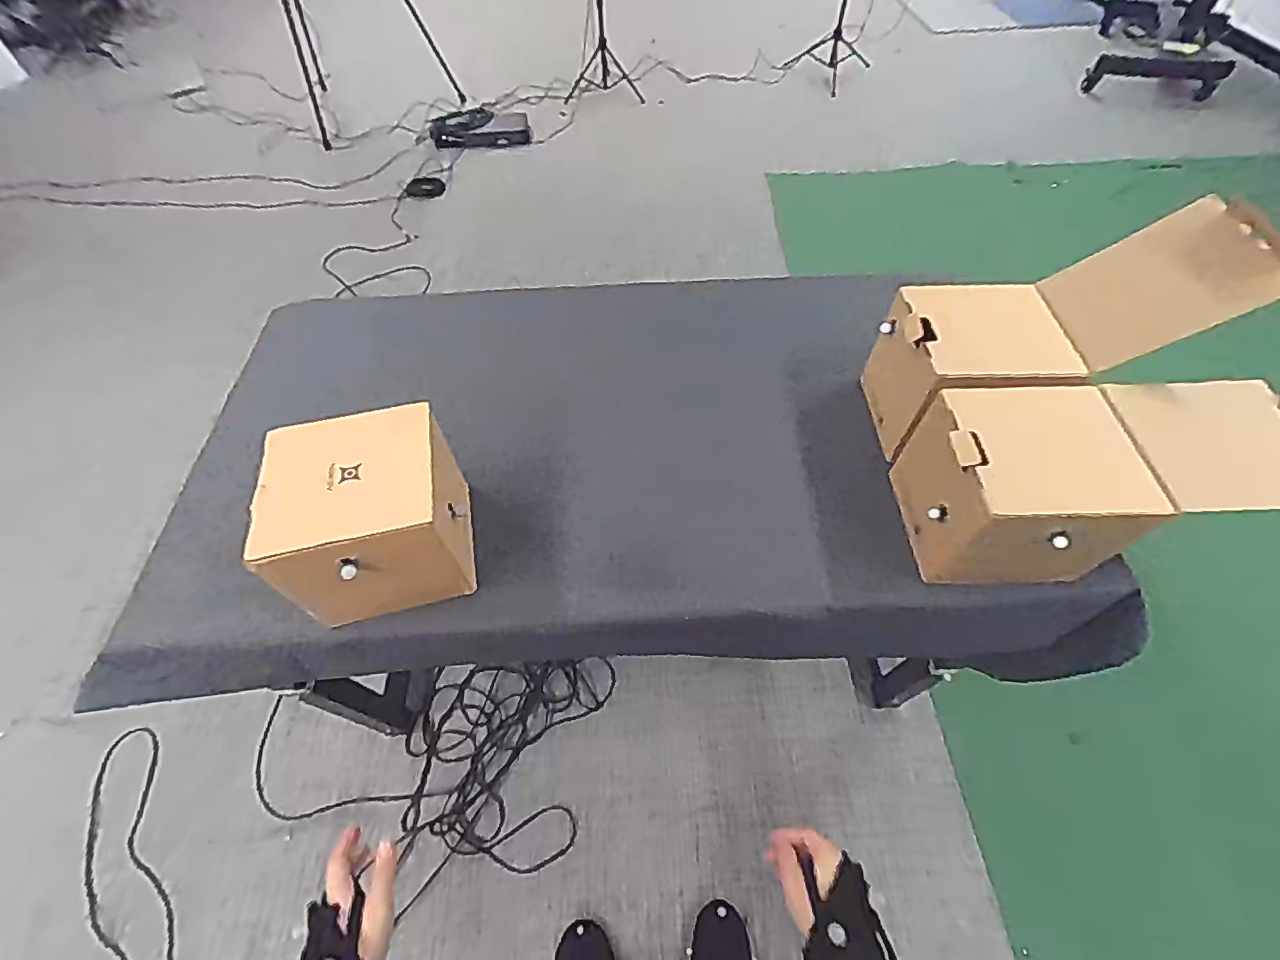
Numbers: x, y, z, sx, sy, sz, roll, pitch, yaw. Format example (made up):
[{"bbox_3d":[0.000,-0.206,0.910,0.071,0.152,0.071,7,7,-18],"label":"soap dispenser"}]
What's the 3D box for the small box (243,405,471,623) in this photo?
[{"bbox_3d":[-0.300,0.043,0.618,0.179,0.176,0.168,-13,55,-7],"label":"small box"}]
